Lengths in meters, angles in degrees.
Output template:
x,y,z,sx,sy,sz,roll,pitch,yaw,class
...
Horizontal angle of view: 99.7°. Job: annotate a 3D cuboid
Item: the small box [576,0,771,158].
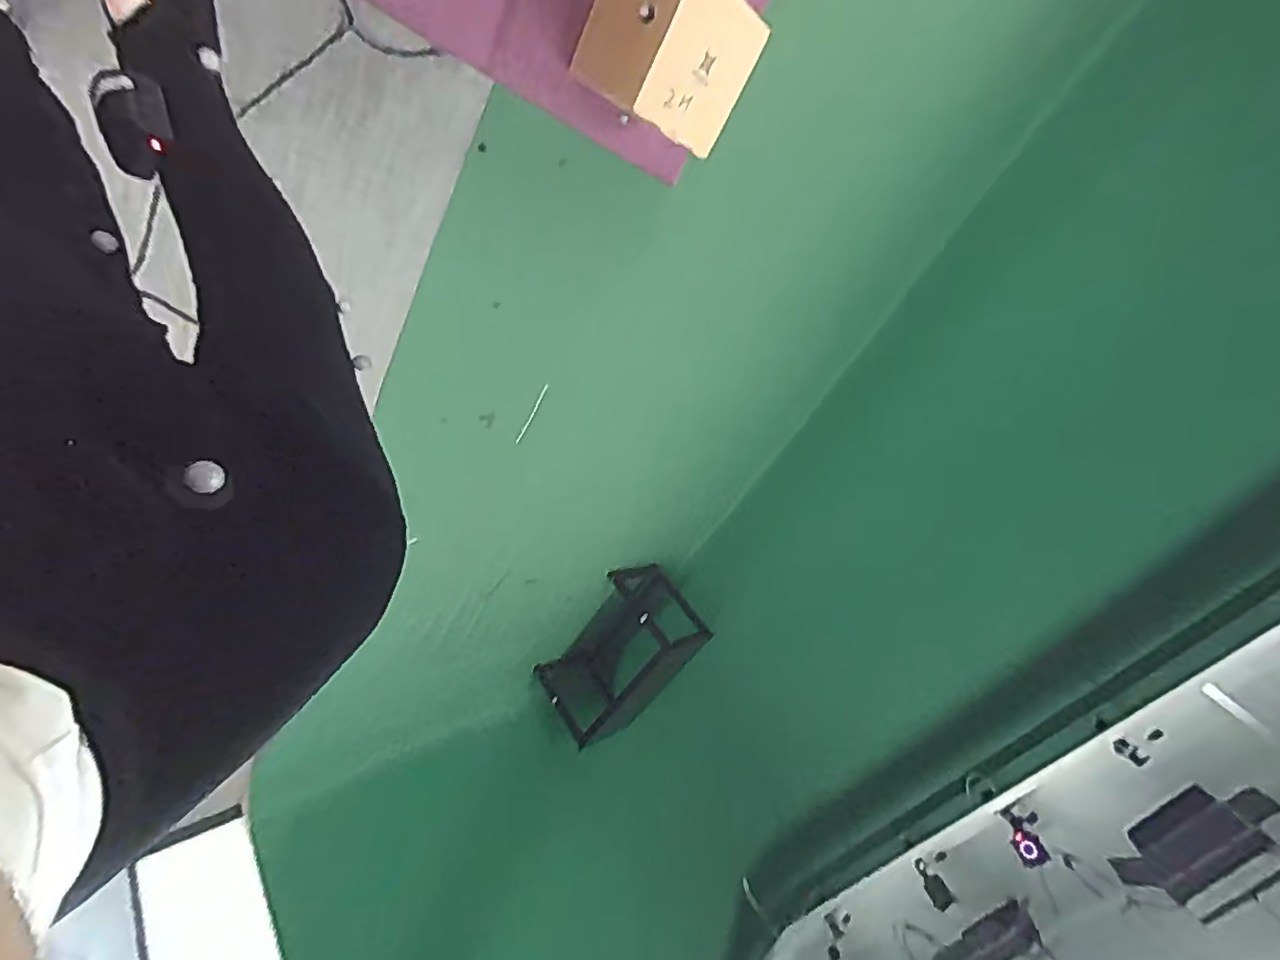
x,y,z,sx,sy,sz,roll,pitch,yaw,class
0.038,-0.597,0.749,0.168,0.176,0.179,-2,134,-48,small box
